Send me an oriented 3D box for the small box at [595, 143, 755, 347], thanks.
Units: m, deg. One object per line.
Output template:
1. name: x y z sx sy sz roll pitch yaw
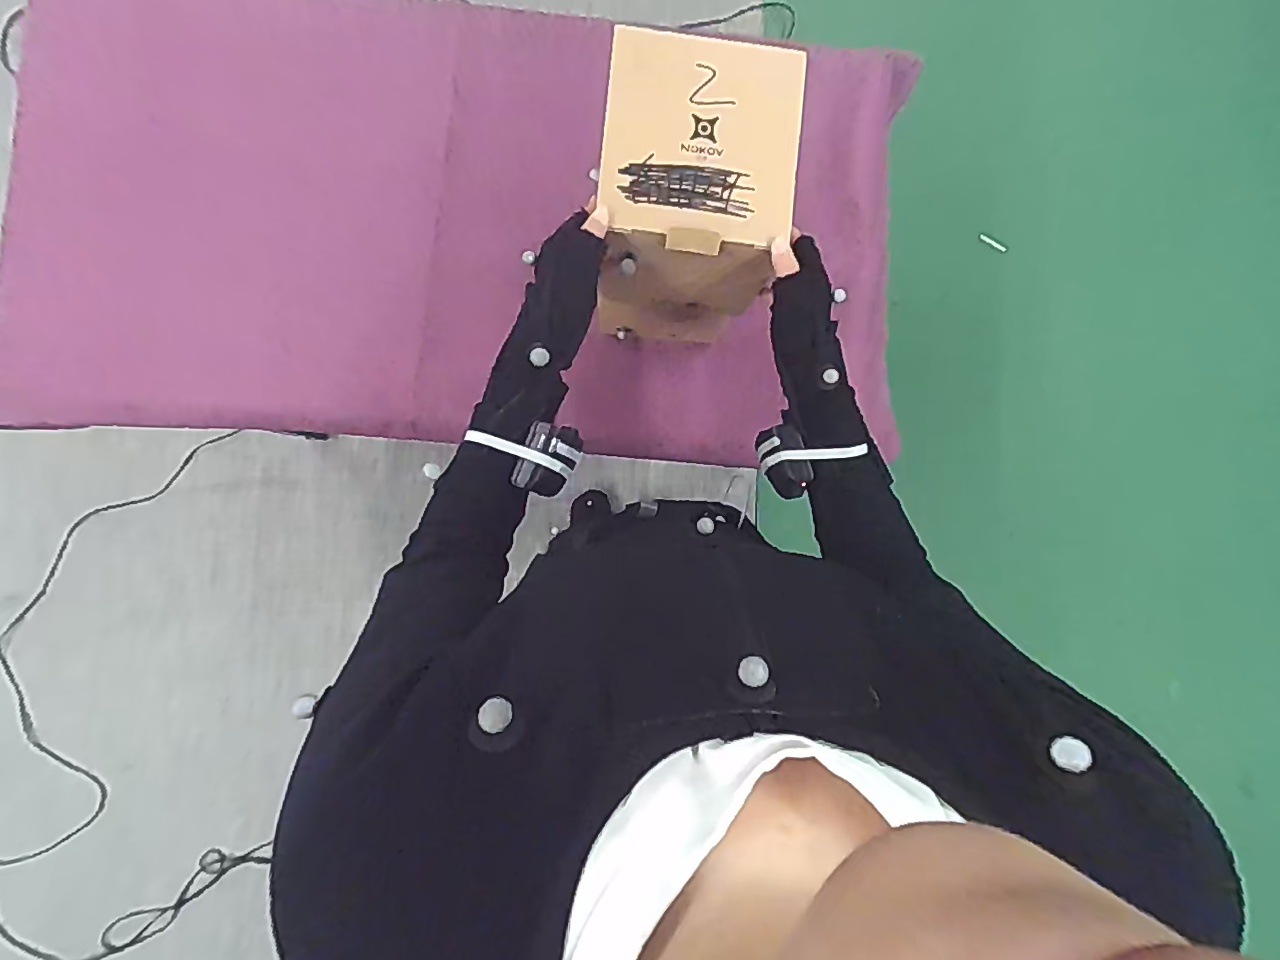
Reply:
1. small box: 0.035 -0.283 0.693 0.168 0.176 0.179 8 87 -5
